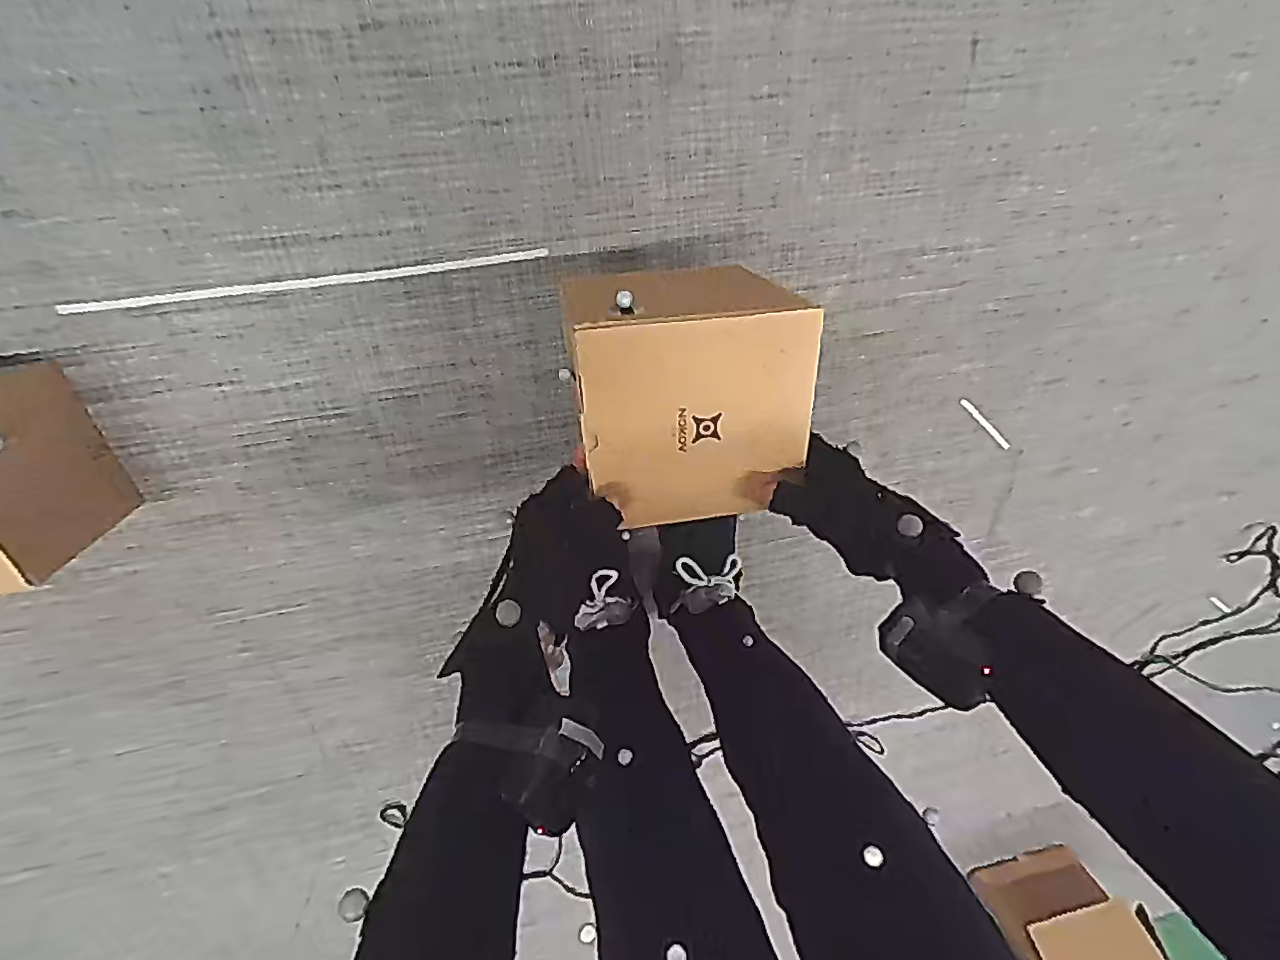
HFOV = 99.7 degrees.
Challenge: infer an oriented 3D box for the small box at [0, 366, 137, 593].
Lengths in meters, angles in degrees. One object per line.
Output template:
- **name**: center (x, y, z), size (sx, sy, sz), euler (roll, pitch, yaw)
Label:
- **small box**: center (-0.650, 0.000, 0.509), size (0.168, 0.176, 0.179), euler (-11, 118, -6)

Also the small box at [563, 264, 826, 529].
- **small box**: center (0.032, -0.081, 0.465), size (0.179, 0.176, 0.168), euler (-7, 122, -6)
